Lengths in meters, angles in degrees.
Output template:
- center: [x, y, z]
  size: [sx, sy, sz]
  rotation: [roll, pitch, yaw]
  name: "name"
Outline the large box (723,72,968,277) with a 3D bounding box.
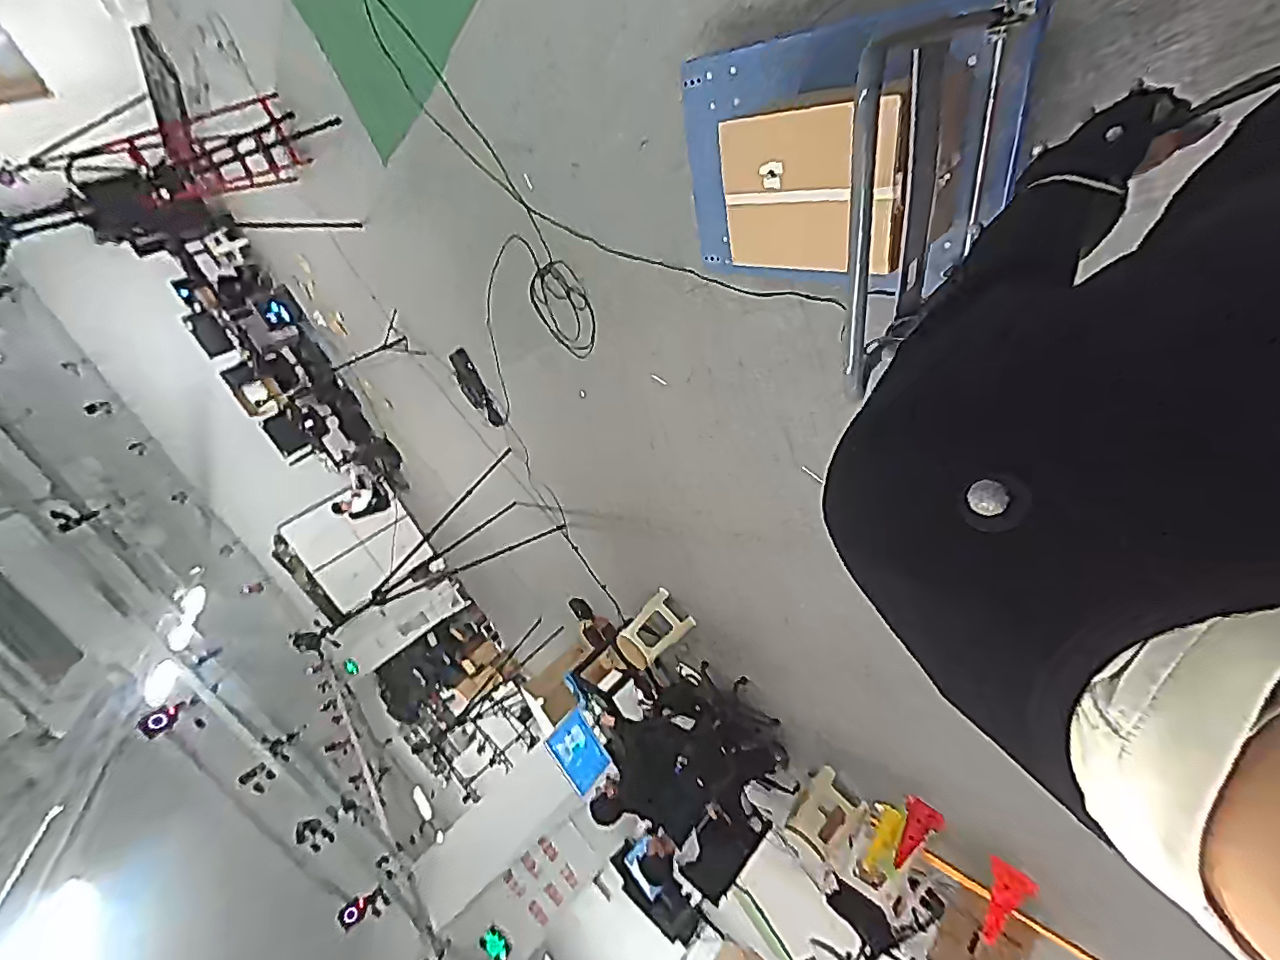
- center: [0.455, -0.678, 1.224]
  size: [0.408, 0.320, 0.320]
  rotation: [25, 140, 41]
  name: "large box"
